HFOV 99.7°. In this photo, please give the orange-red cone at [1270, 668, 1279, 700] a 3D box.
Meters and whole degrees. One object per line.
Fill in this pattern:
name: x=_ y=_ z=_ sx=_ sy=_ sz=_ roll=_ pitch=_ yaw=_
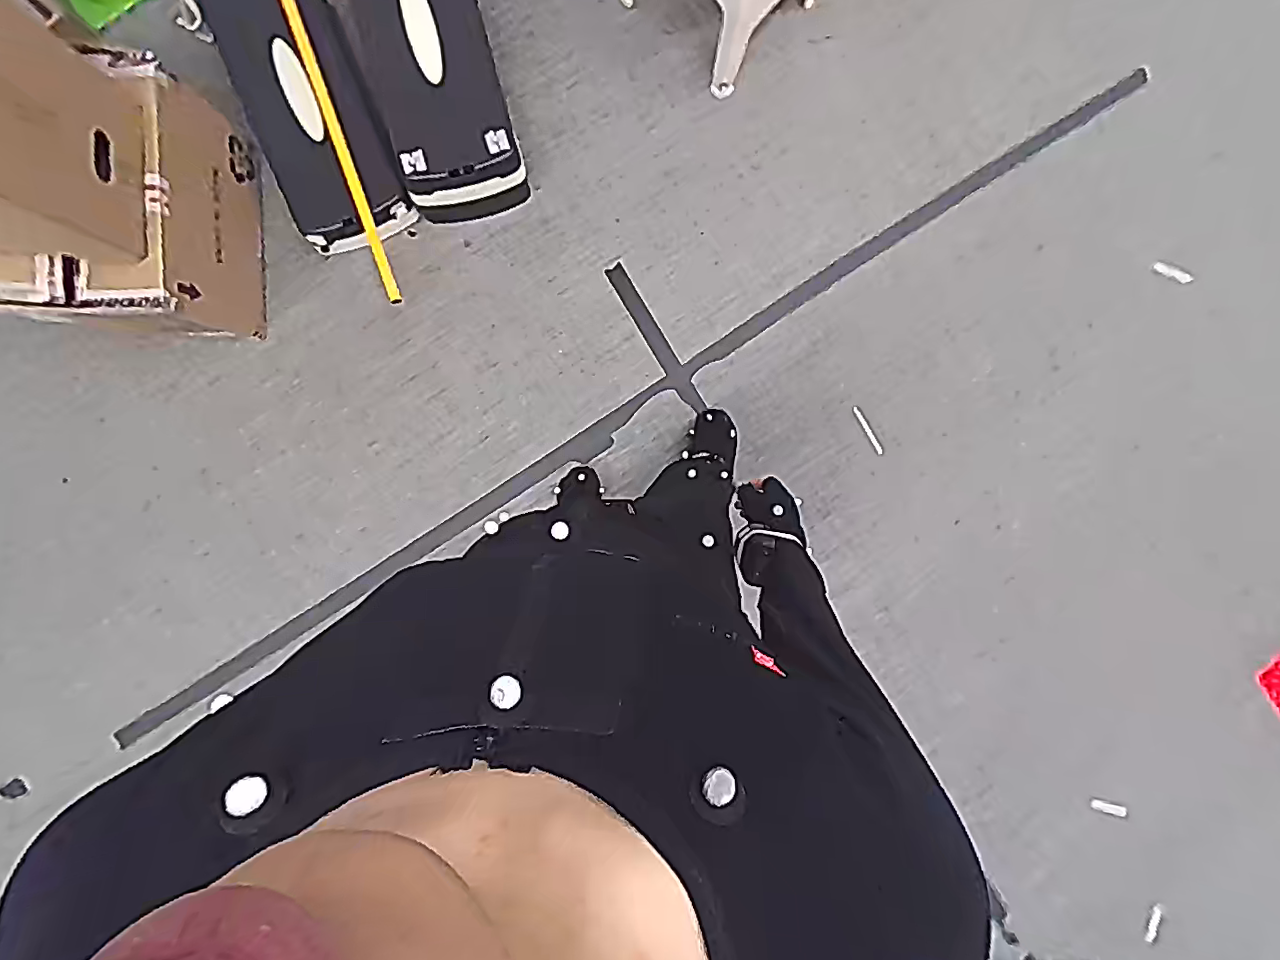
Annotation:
orange-red cone: x=2.000 y=0.614 z=1.441 sx=0.198 sy=0.360 sz=0.199 roll=-37 pitch=93 yaw=-2
